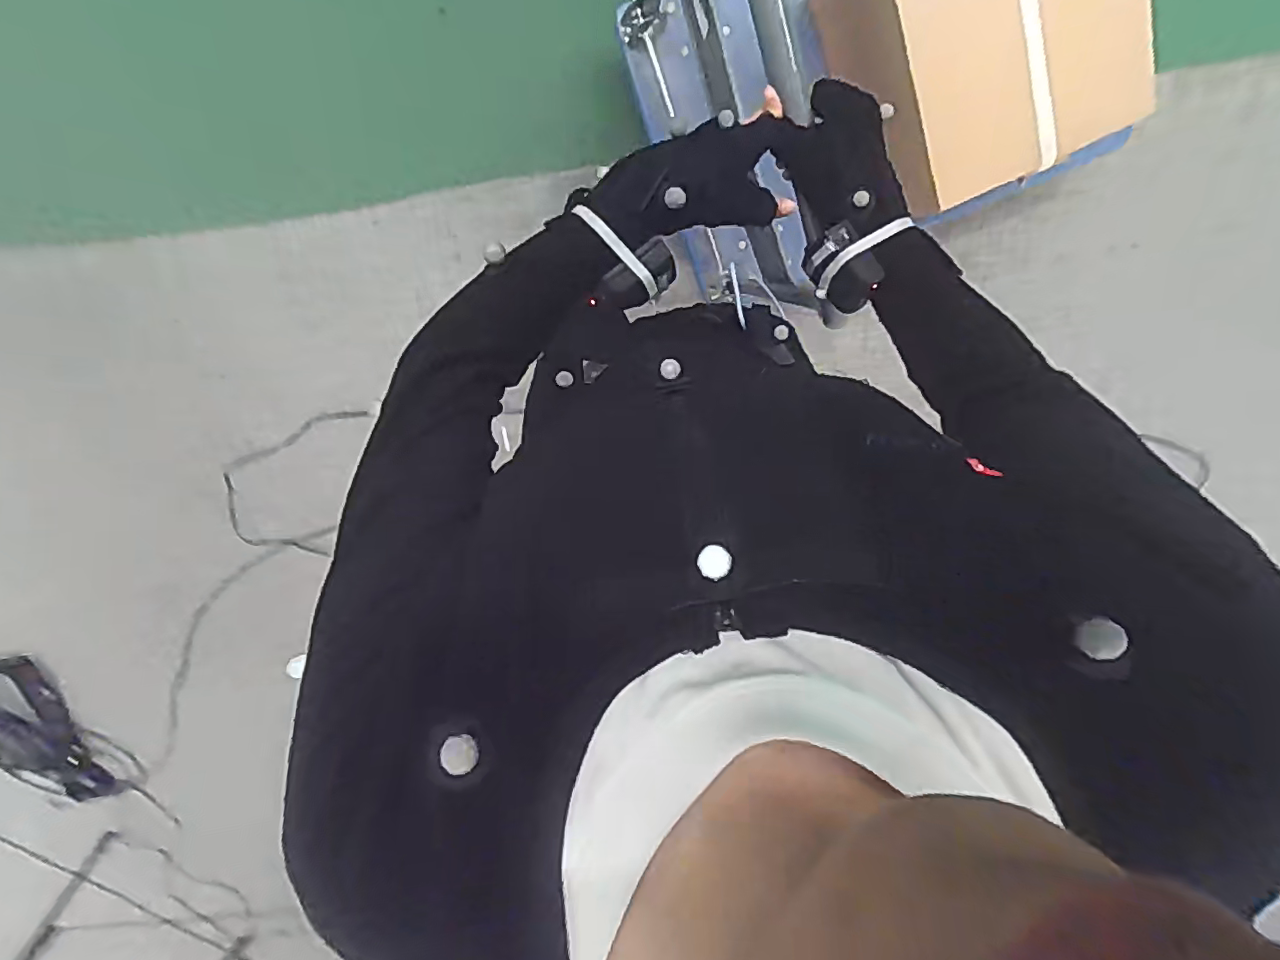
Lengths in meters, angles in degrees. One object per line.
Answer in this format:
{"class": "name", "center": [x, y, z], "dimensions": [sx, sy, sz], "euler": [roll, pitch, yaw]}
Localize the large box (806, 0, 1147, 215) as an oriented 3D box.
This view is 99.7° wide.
{"class": "large box", "center": [0.512, -0.707, 0.876], "dimensions": [0.320, 0.320, 0.408], "euler": [-23, 110, 9]}
